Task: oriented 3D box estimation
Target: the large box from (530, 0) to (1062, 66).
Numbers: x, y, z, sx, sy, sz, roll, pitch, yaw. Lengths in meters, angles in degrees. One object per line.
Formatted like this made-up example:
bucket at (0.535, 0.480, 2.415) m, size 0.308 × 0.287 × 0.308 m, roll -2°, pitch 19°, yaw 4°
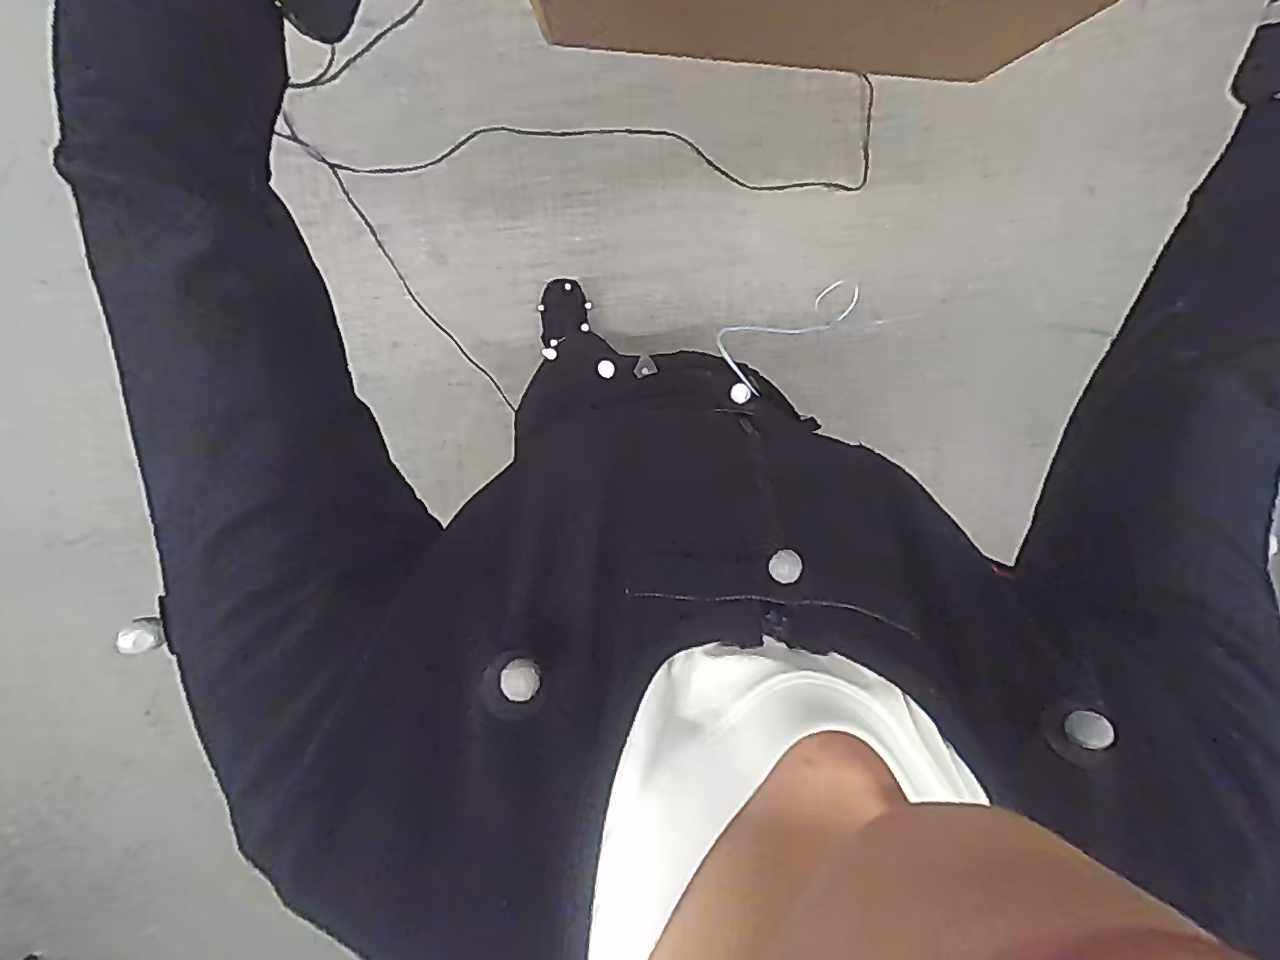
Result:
large box at (0.118, -0.481, 0.305) m, size 0.408 × 0.320 × 0.320 m, roll 2°, pitch 110°, yaw -3°
